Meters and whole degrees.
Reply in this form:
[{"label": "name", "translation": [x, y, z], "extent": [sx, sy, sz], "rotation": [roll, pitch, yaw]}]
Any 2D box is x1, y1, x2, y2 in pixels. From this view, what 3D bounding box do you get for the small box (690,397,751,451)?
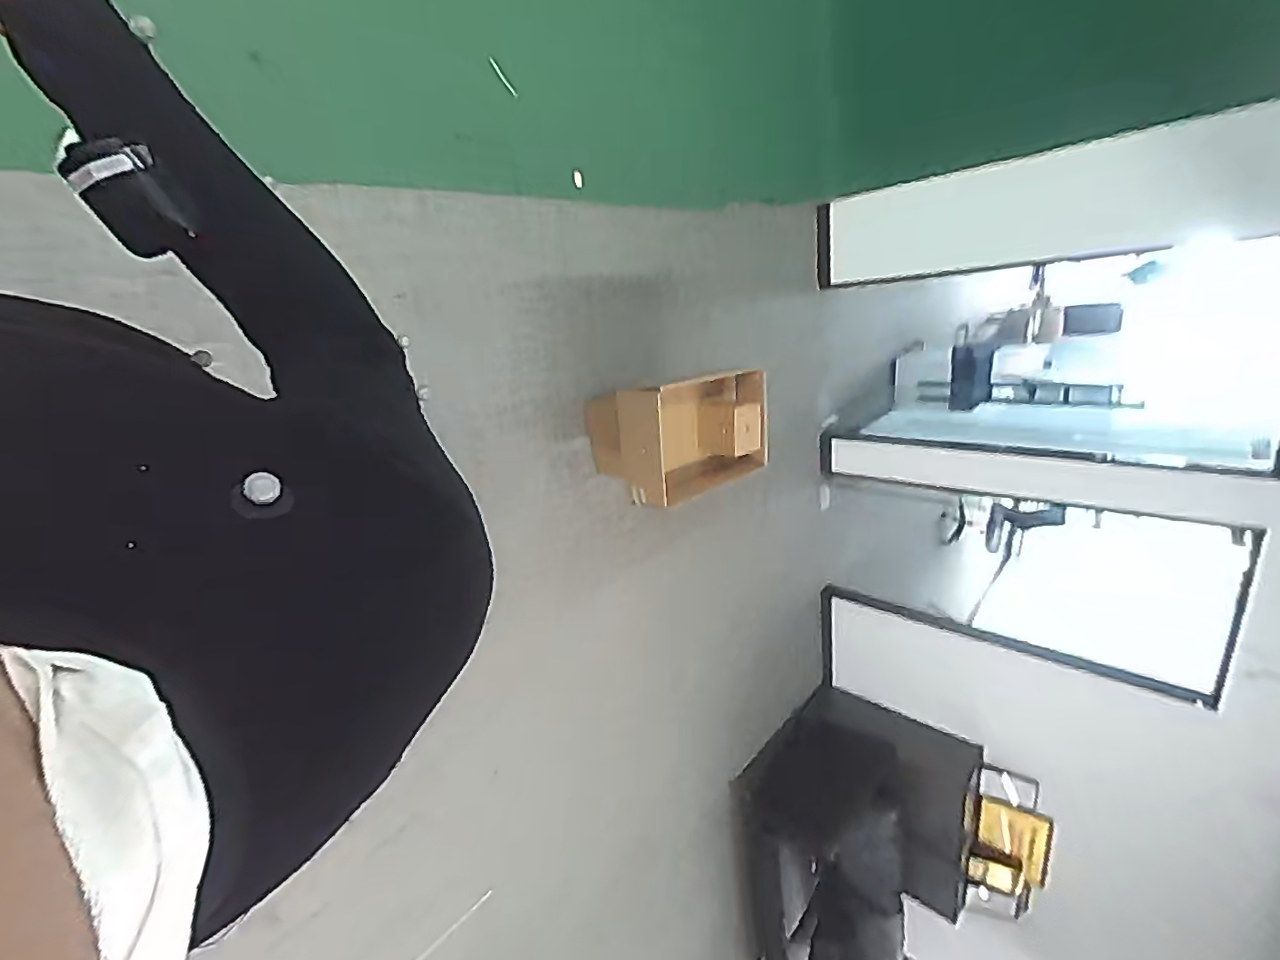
[{"label": "small box", "translation": [0.299, -0.214, 2.016], "extent": [0.168, 0.176, 0.179], "rotation": [-18, 112, -44]}]
